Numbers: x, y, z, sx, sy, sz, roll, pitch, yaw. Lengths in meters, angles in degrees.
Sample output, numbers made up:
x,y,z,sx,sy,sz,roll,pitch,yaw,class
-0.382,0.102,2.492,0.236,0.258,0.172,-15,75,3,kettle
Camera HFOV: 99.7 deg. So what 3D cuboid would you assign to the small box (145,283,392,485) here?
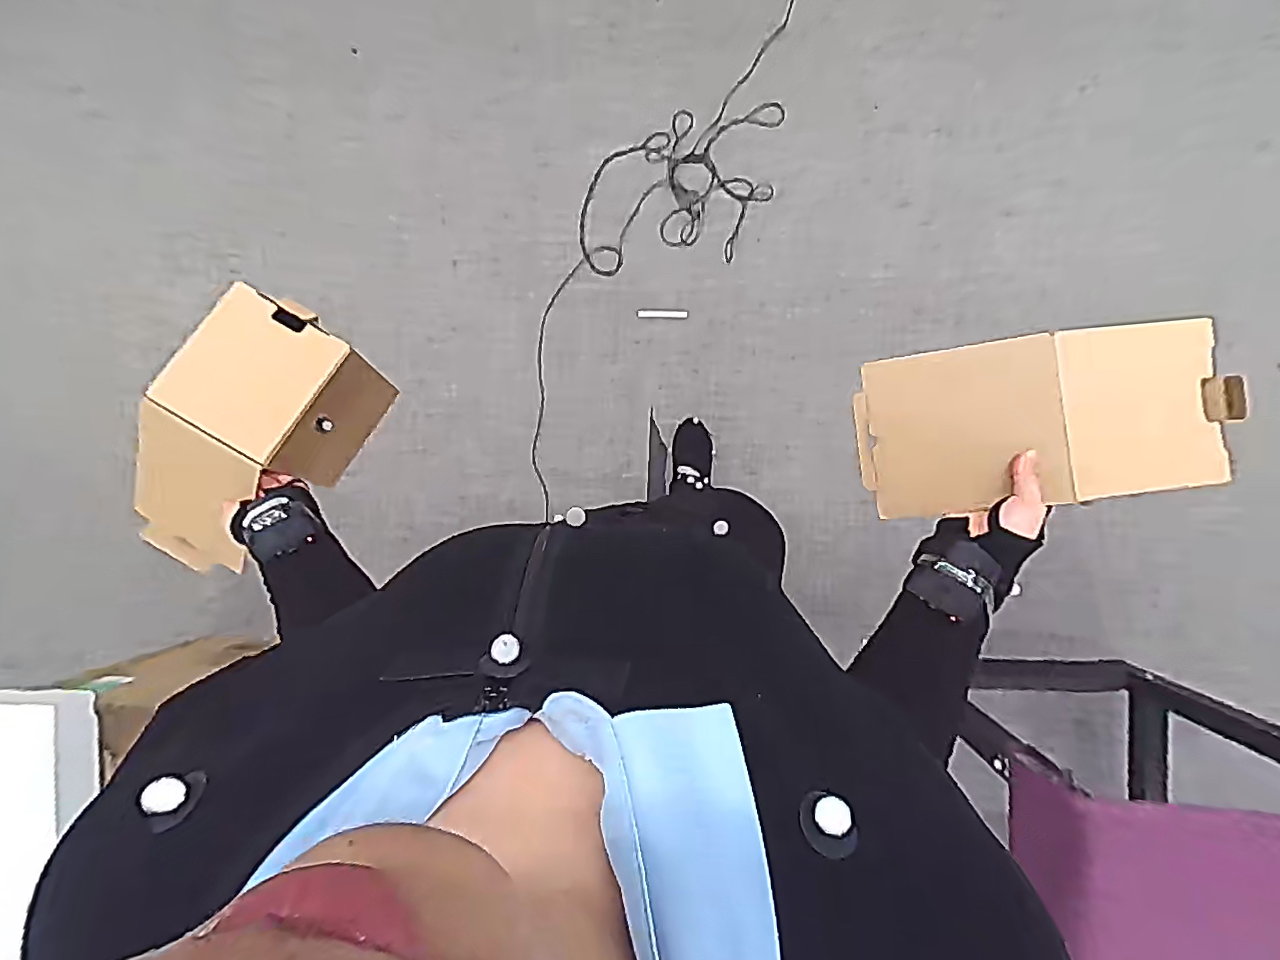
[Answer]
x,y,z,sx,sy,sz,roll,pitch,yaw,class
-0.463,-0.112,0.711,0.168,0.176,0.179,29,78,2,small box
